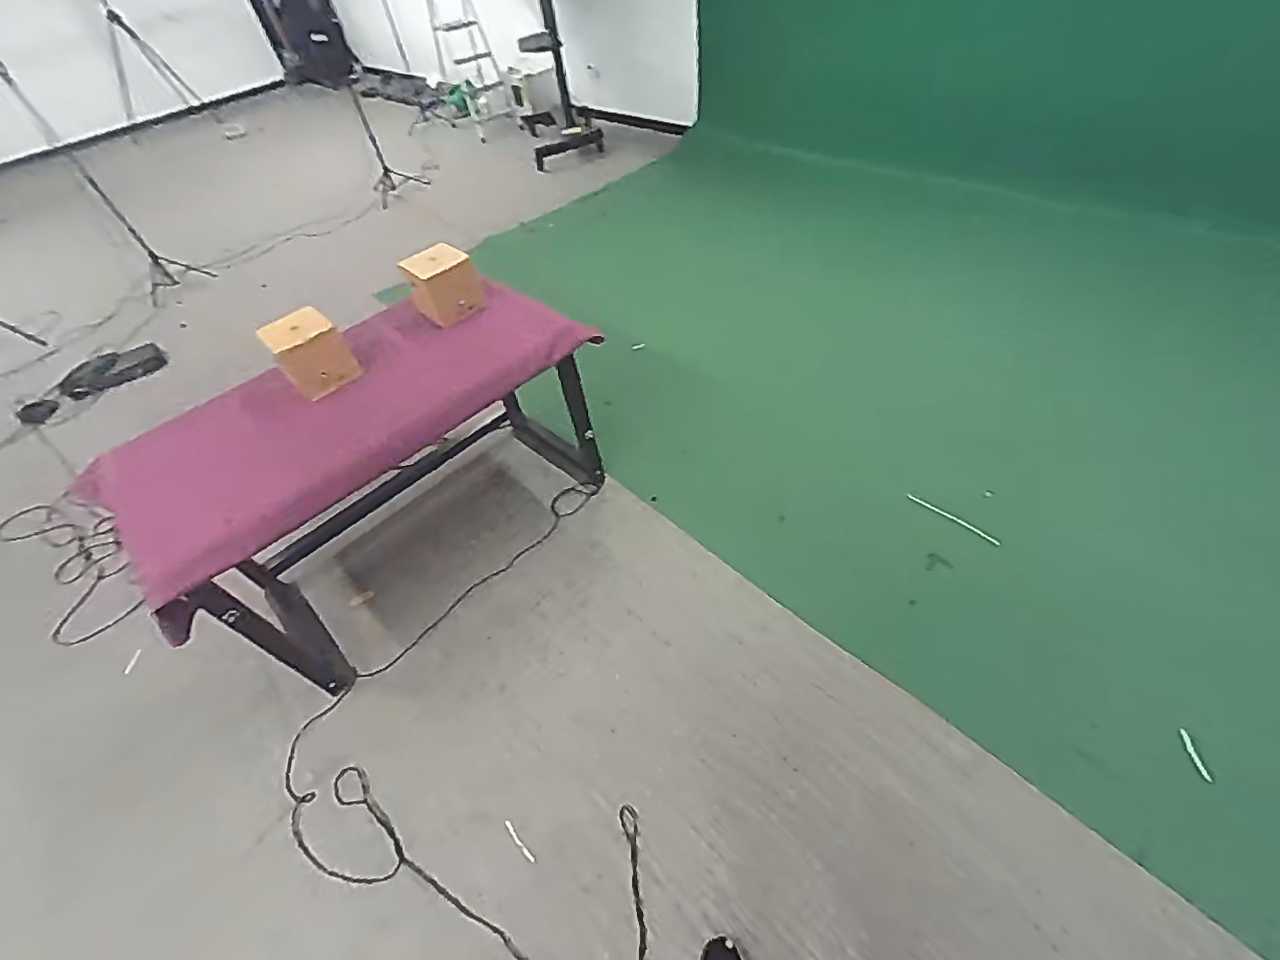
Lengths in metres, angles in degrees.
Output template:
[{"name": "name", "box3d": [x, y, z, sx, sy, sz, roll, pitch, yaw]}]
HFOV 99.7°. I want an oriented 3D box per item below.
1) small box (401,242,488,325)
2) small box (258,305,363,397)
[{"name": "small box", "box3d": [-0.612, -0.617, 1.704, 0.168, 0.176, 0.179, -39, 55, -22]}, {"name": "small box", "box3d": [-0.927, -0.362, 1.531, 0.168, 0.176, 0.179, -39, 56, -24]}]
